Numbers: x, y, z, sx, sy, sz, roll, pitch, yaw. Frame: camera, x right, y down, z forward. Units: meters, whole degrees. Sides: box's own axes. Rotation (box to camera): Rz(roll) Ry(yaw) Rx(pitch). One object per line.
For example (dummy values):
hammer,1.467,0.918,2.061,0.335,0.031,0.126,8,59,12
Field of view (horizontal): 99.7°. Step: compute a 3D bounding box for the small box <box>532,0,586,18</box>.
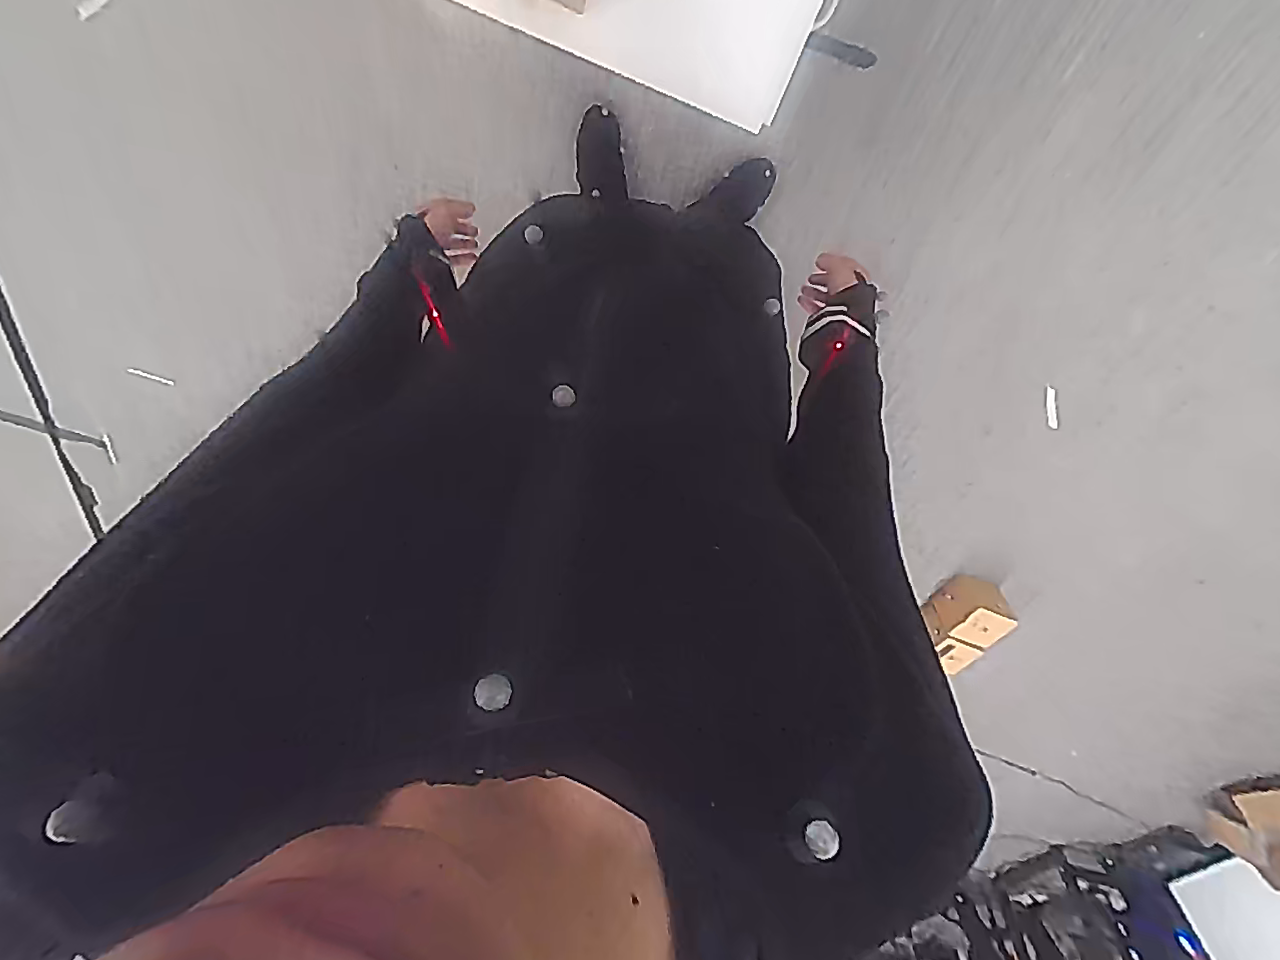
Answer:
small box,-0.127,-0.641,0.577,0.168,0.176,0.179,20,125,-8
